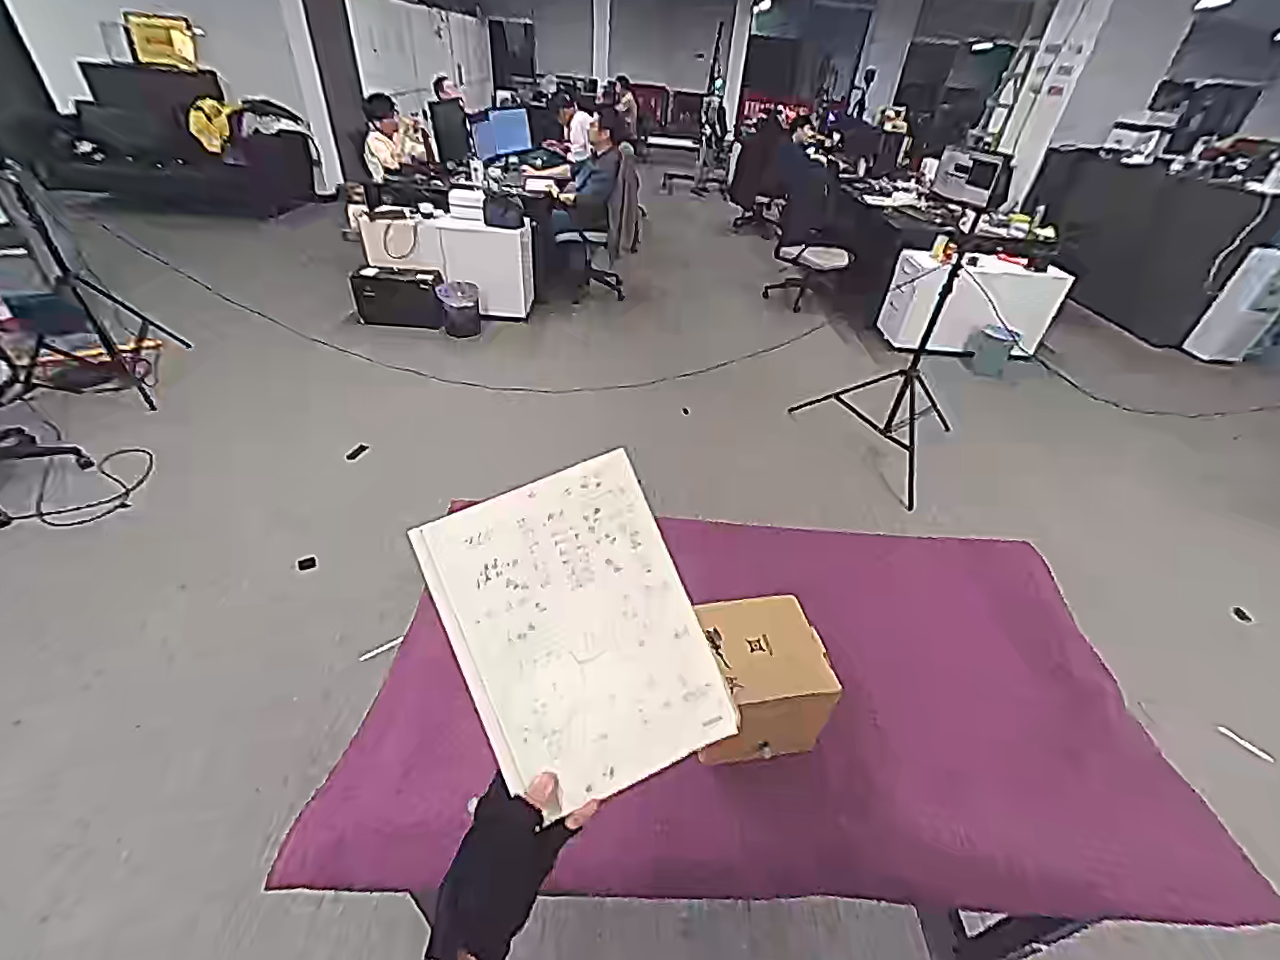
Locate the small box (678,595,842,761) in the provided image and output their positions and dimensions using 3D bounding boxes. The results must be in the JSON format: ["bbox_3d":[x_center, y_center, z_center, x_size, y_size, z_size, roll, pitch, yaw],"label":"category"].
[{"bbox_3d":[0.167,0.295,0.815,0.179,0.176,0.168,-3,37,-11],"label":"small box"}]
